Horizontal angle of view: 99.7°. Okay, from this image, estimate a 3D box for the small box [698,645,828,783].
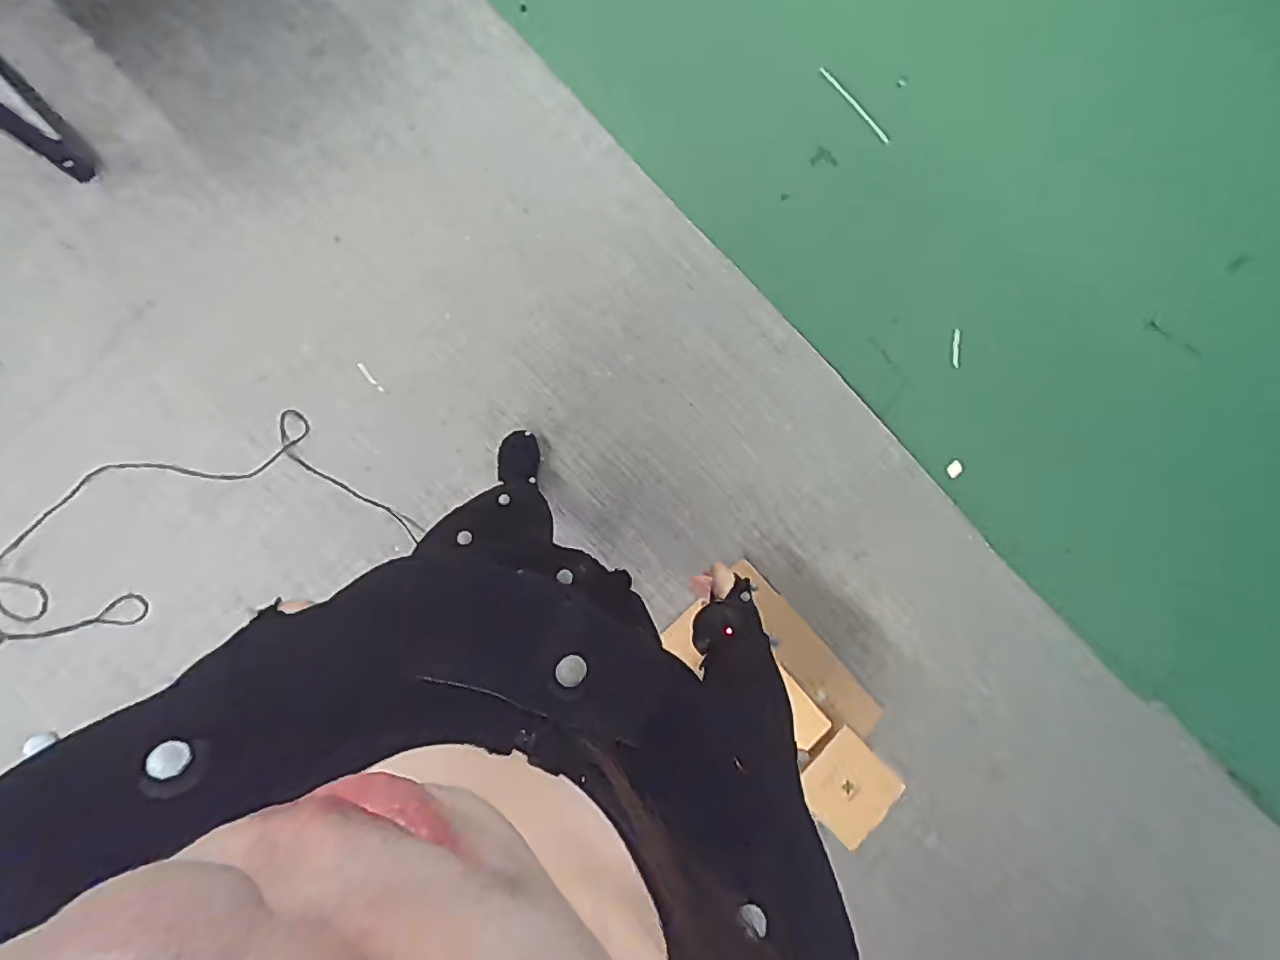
[{"bbox_3d":[0.244,0.469,1.115,0.168,0.176,0.179,-41,88,-7],"label":"small box"}]
